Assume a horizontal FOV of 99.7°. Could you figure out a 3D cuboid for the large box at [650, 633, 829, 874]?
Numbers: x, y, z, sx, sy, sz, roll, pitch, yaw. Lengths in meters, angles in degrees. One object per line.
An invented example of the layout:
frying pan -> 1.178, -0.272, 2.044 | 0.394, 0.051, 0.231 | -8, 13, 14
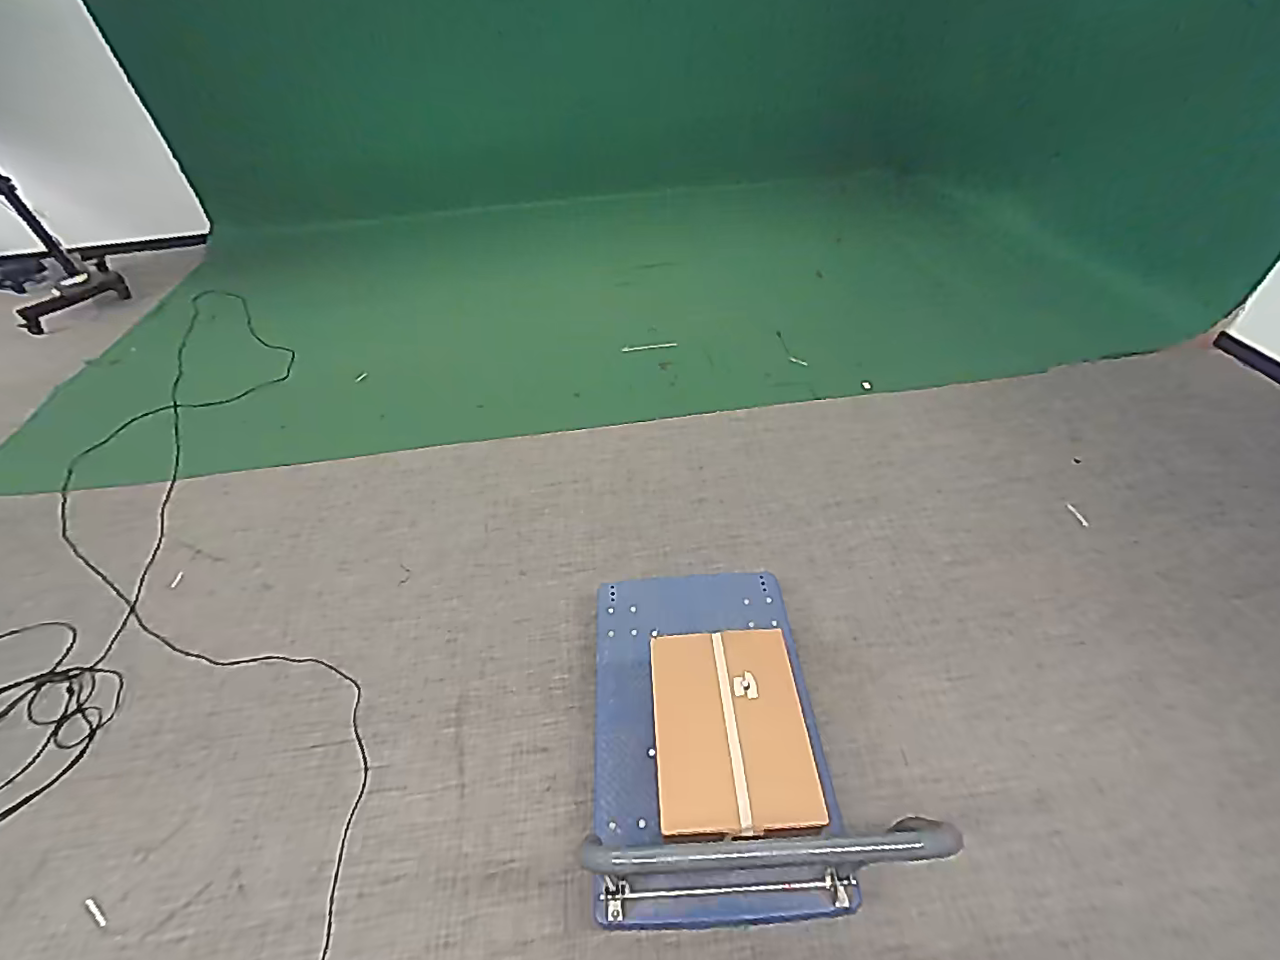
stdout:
large box -> 0.196, 0.617, 1.237 | 0.320, 0.320, 0.408 | -3, 43, 0
